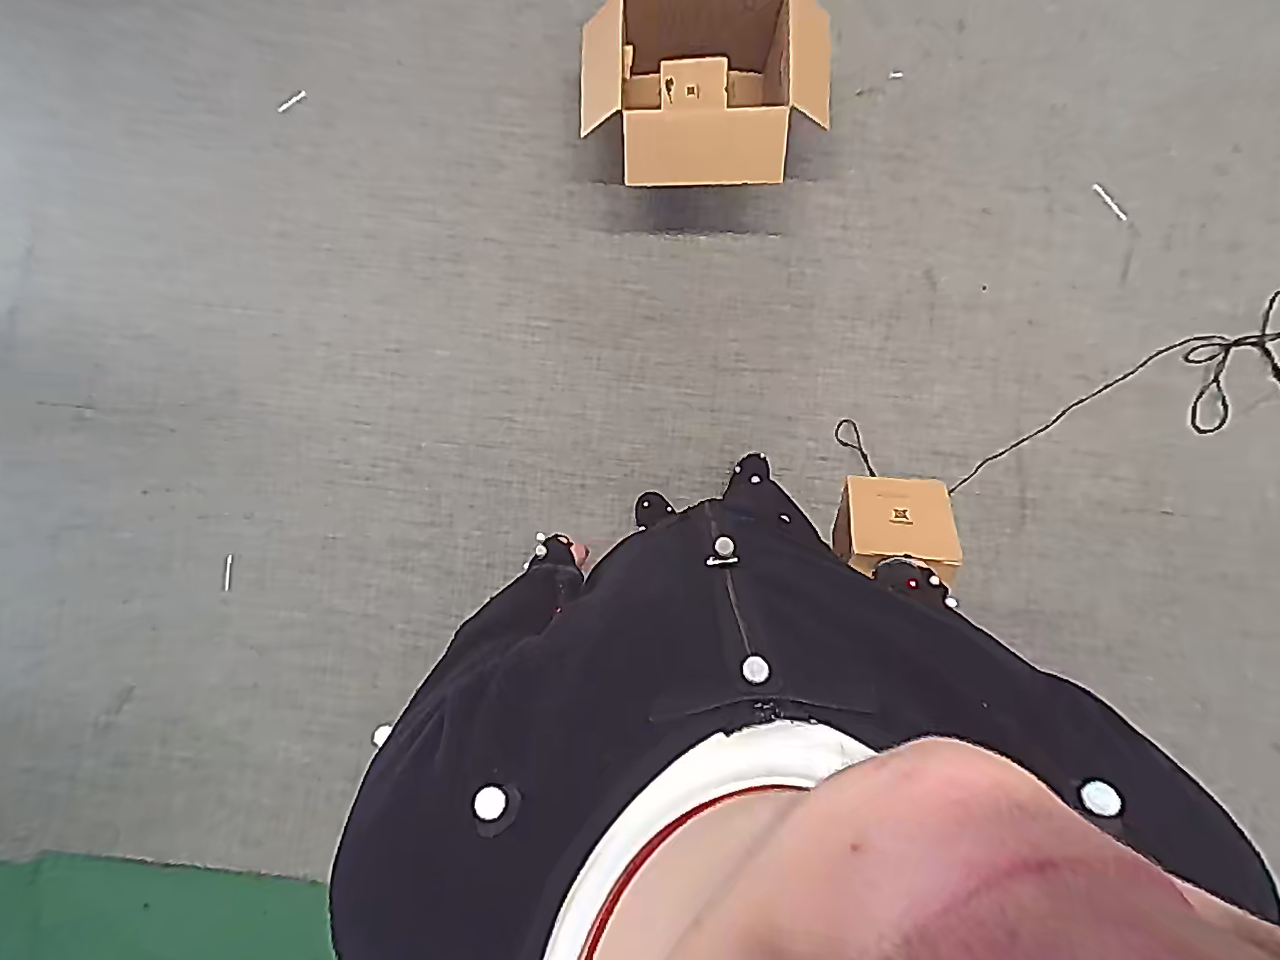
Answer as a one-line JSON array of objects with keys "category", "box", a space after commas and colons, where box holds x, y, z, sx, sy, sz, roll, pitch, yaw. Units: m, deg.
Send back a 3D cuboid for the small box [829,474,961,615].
[{"category": "small box", "box": [0.433, 0.114, 0.948, 0.168, 0.176, 0.179, 6, 46, 11]}]
